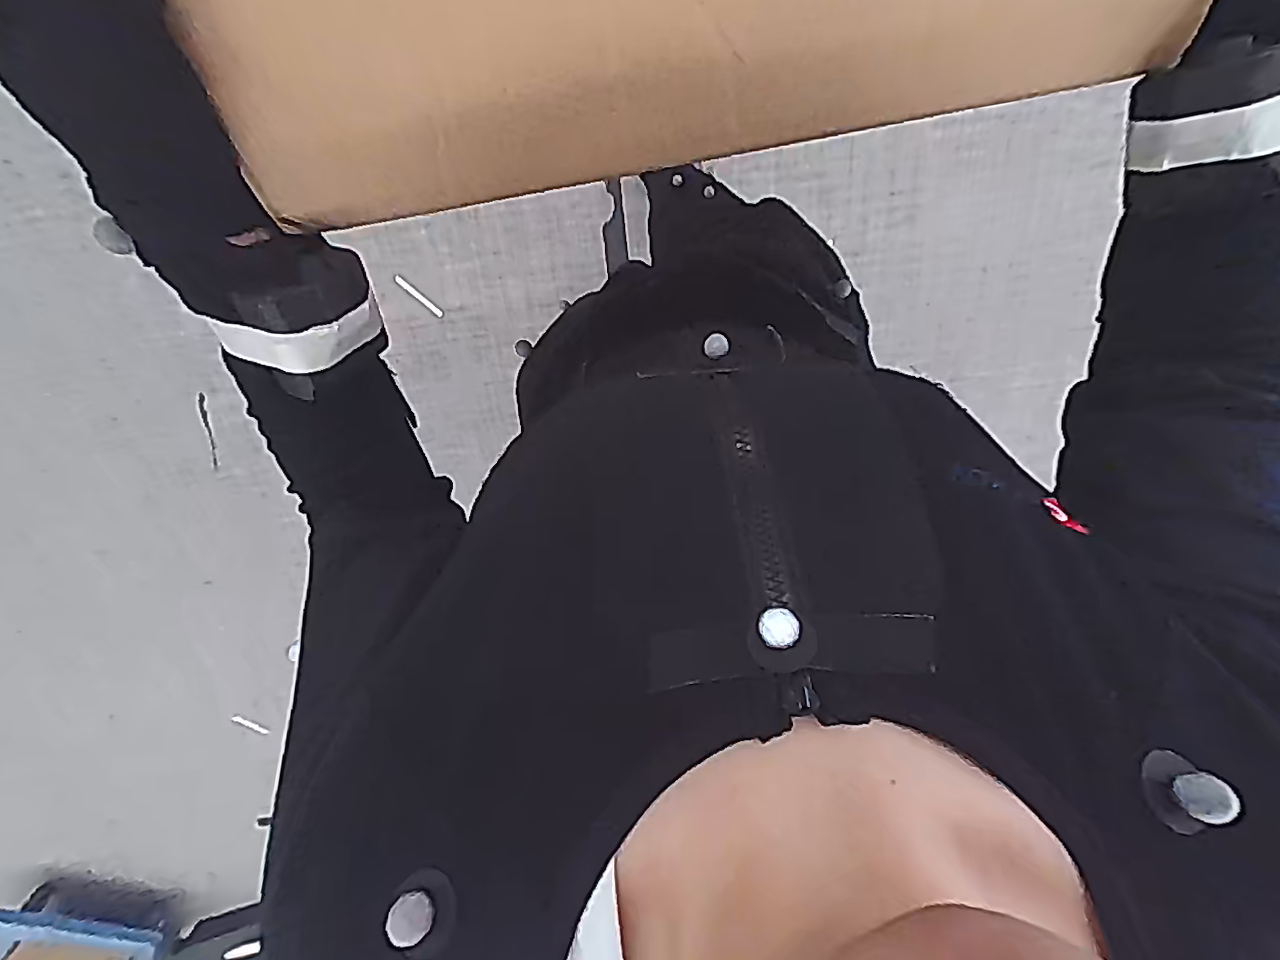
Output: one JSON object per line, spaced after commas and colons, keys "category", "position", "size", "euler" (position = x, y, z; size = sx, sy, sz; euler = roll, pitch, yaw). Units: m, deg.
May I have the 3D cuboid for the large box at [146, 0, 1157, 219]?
{"category": "large box", "position": [-0.007, -0.366, 0.226], "size": [0.408, 0.320, 0.320], "euler": [-9, 140, 2]}
